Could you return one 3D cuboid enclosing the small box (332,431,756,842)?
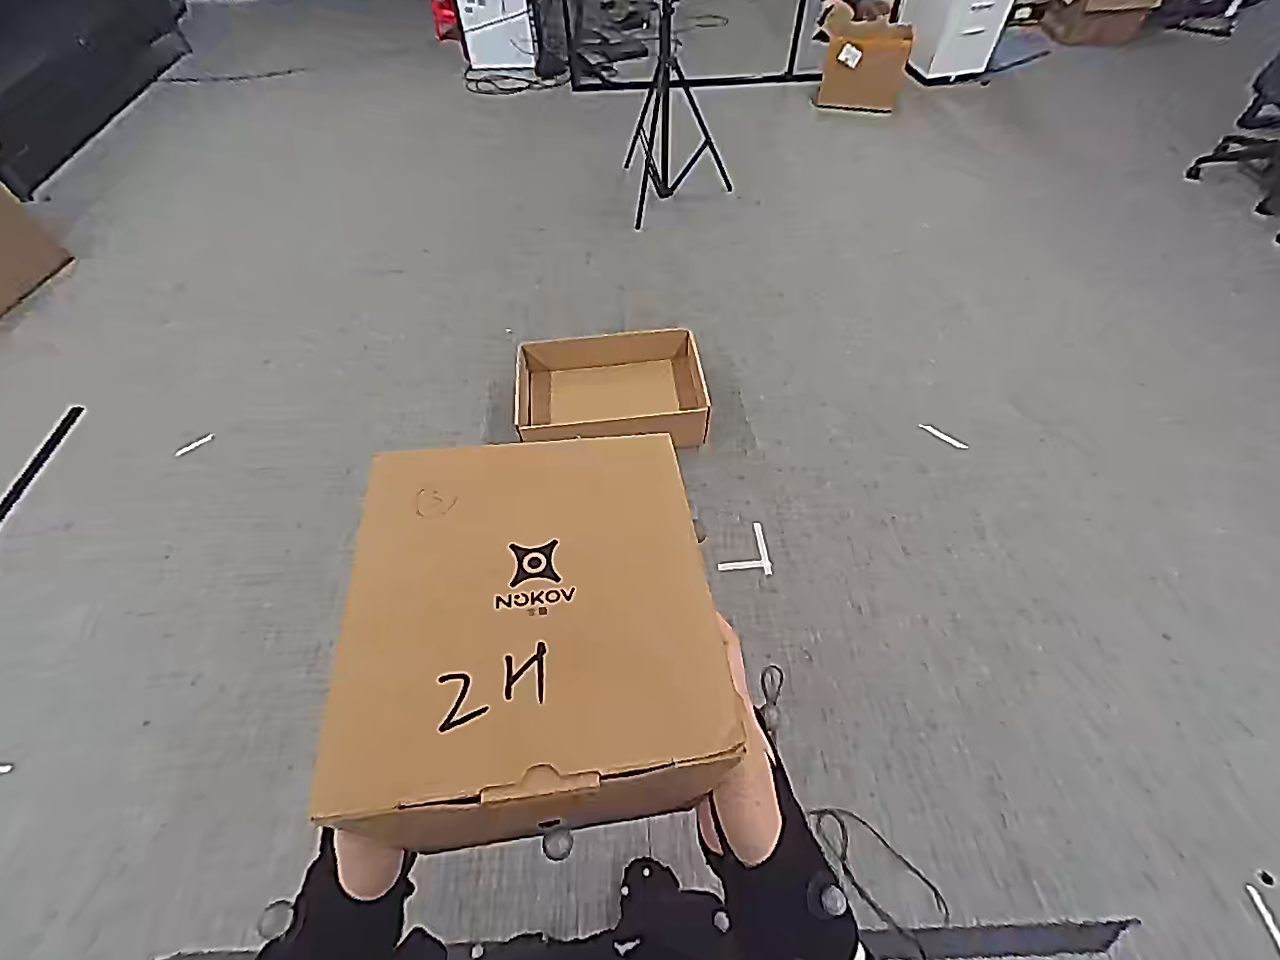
[{"bbox_3d":[-0.050,0.093,0.321,0.168,0.176,0.179,-5,53,-8],"label":"small box"}]
